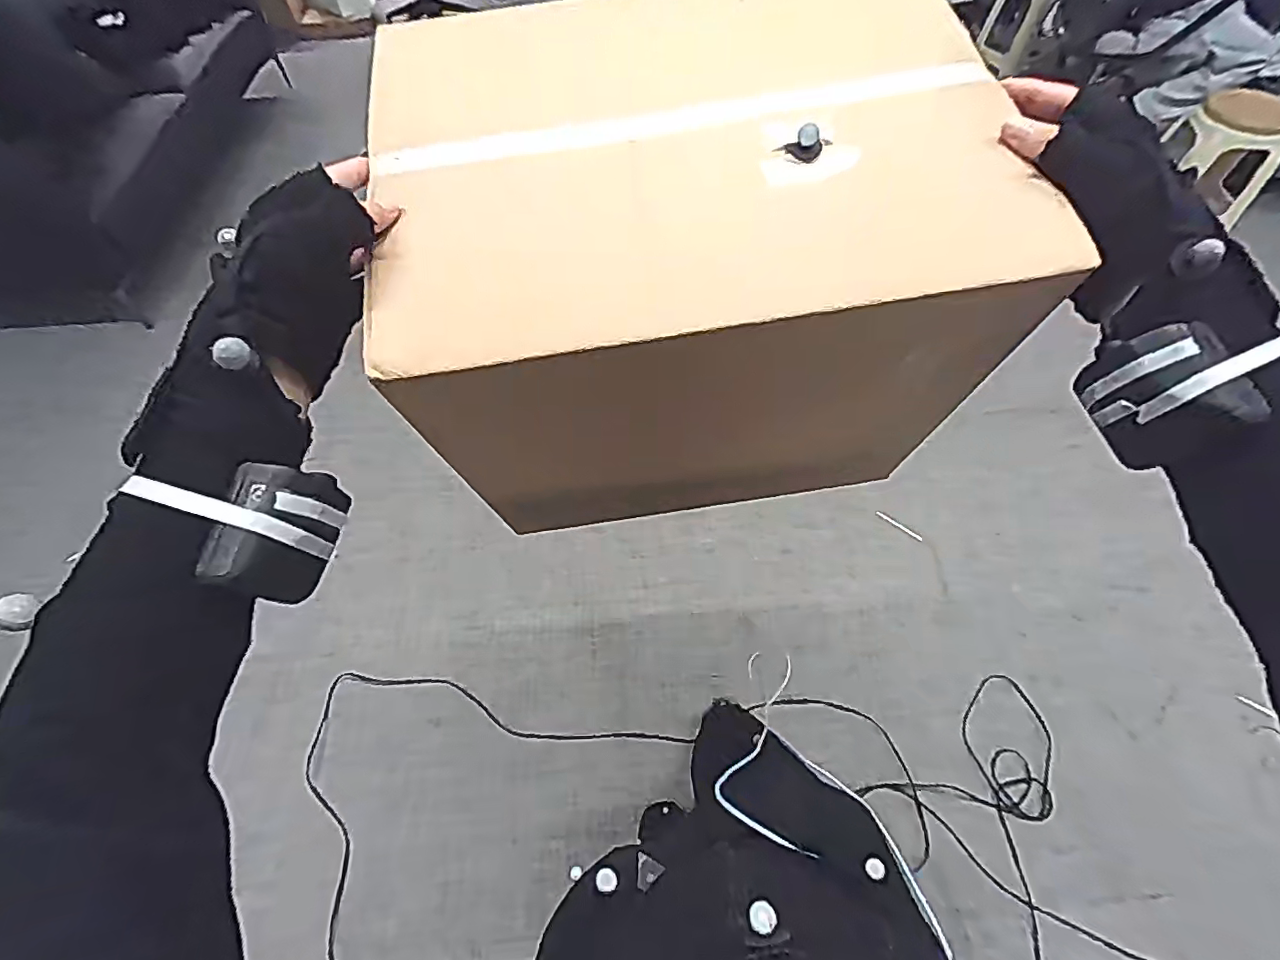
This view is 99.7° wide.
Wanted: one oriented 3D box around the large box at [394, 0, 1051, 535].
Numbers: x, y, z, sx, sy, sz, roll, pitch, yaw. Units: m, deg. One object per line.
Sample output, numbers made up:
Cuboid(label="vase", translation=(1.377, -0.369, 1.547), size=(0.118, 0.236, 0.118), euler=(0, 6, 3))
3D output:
Cuboid(label="large box", translation=(0.034, -0.164, 0.511), size=(0.408, 0.320, 0.320), euler=(-9, 68, -1))
